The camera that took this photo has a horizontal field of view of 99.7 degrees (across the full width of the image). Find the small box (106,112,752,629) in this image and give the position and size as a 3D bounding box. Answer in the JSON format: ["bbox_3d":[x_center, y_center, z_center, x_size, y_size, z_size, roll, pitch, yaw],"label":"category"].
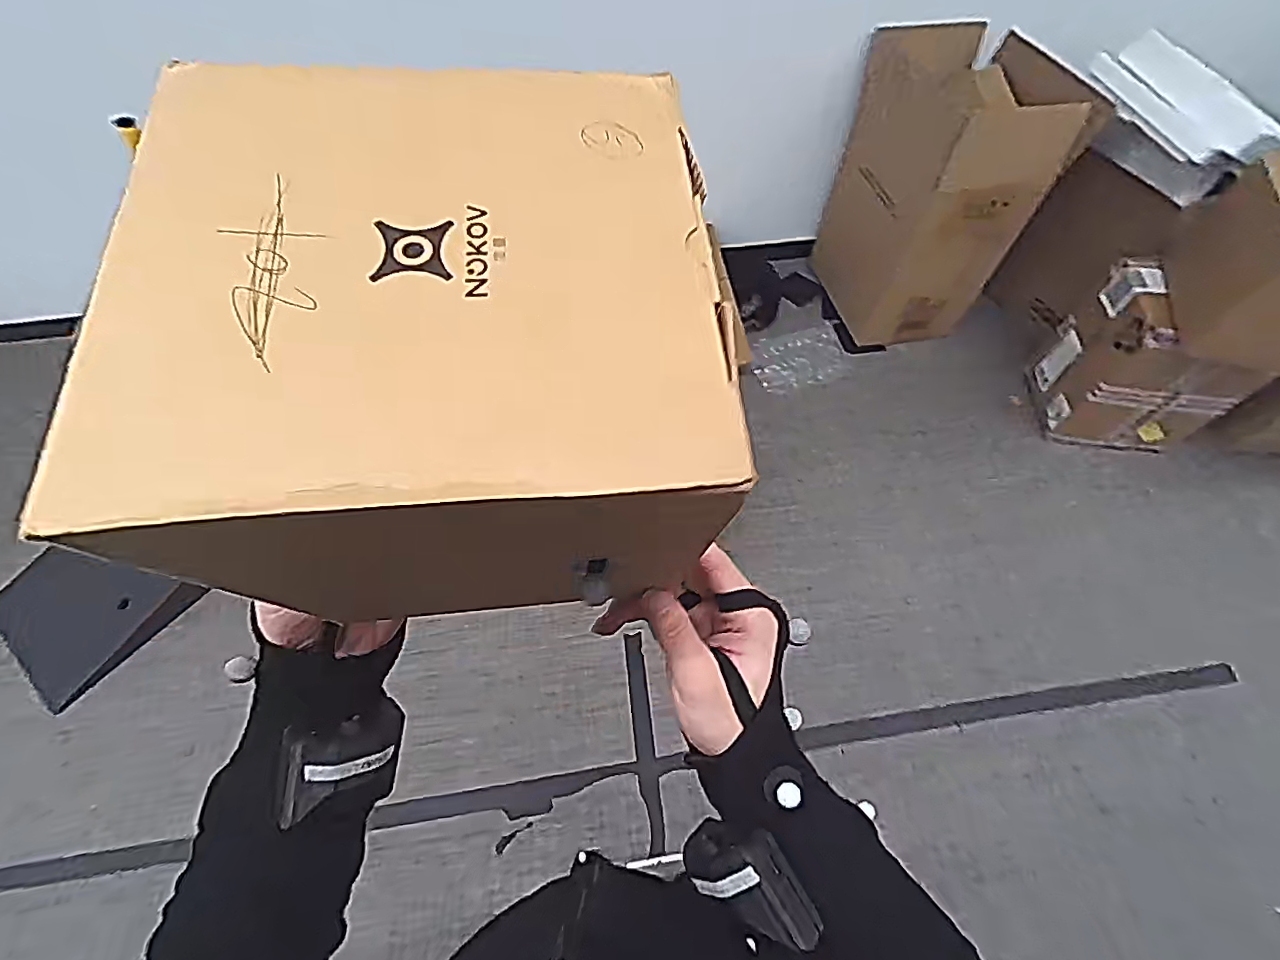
[{"bbox_3d":[-0.067,-0.031,0.250,0.179,0.176,0.168,-5,68,-6],"label":"small box"}]
